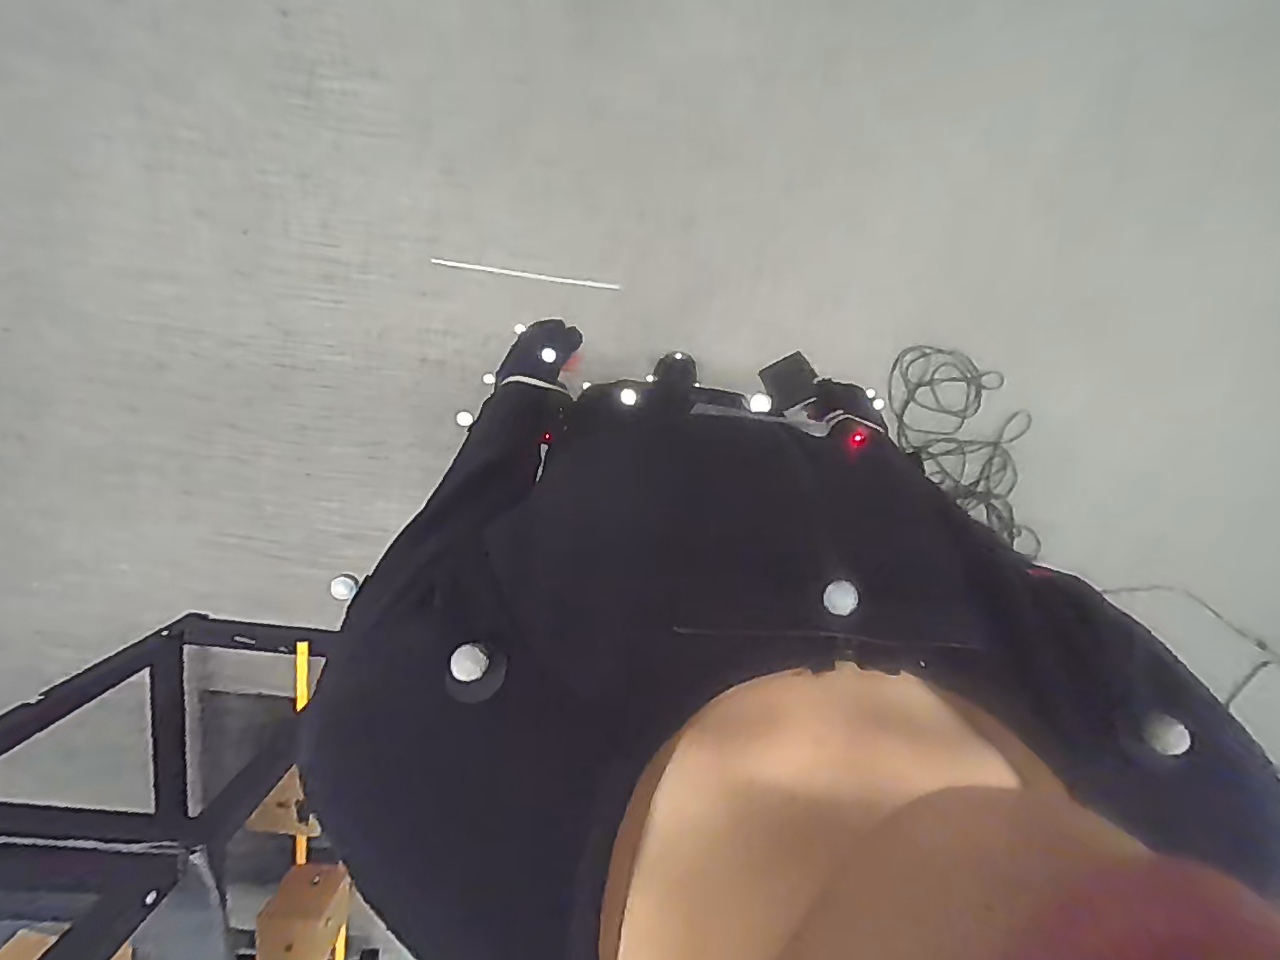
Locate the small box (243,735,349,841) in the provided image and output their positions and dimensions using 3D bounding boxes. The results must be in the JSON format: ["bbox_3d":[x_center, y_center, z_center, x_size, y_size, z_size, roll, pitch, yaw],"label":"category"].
[{"bbox_3d":[-0.886,0.795,1.408,0.179,0.176,0.168,10,100,-4],"label":"small box"}]
